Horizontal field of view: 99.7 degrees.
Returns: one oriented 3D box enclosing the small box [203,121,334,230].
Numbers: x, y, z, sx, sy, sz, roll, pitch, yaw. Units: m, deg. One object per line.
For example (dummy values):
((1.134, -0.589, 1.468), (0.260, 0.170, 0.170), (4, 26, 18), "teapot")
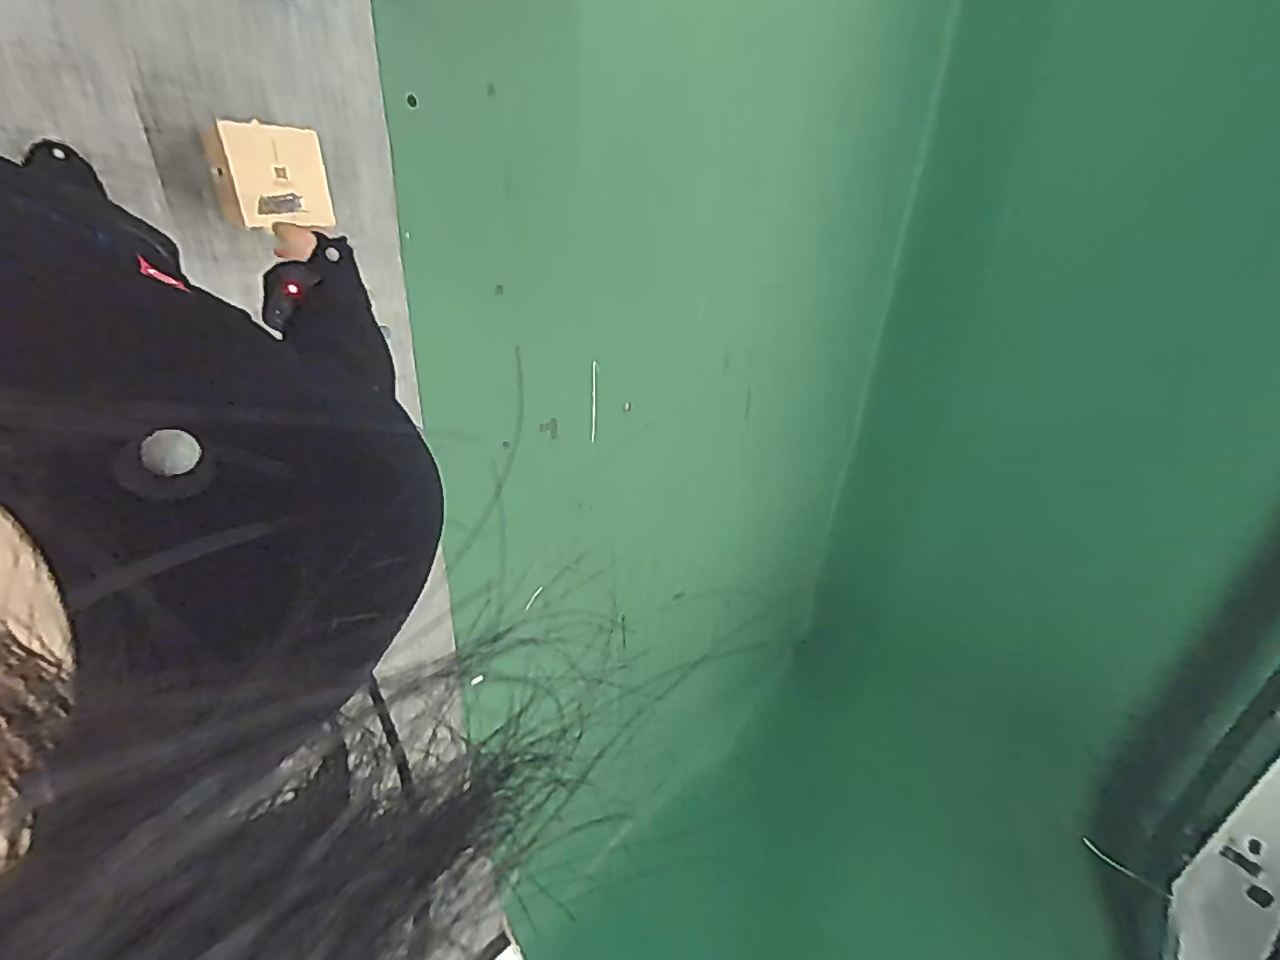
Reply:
((-0.748, -0.606, 1.092), (0.168, 0.176, 0.179), (-22, 125, -40), "small box")
